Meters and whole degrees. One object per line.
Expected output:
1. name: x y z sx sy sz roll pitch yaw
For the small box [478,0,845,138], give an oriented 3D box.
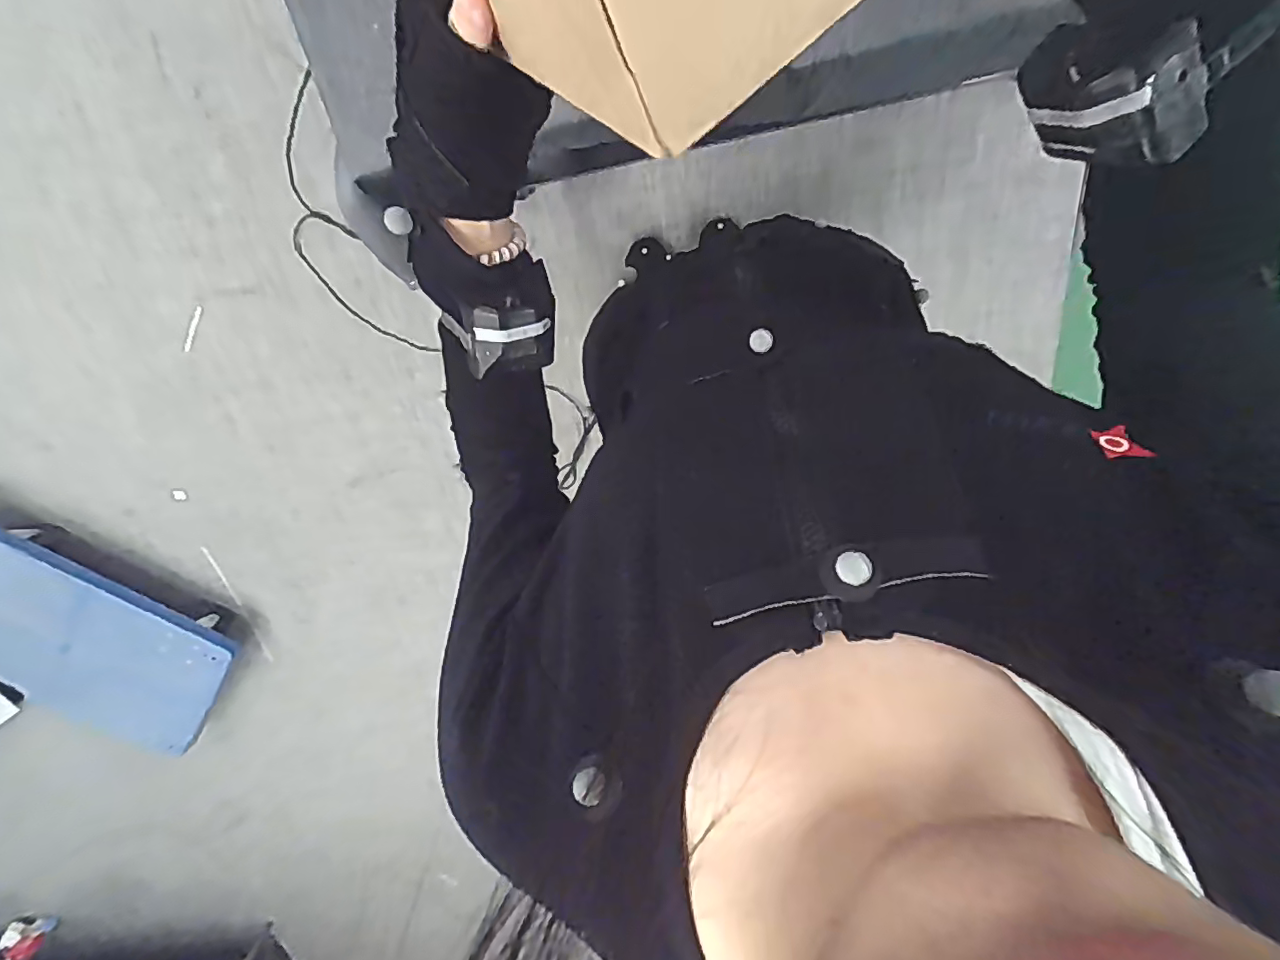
1. small box: 0.005 -0.261 0.164 0.179 0.176 0.168 -39 148 4
